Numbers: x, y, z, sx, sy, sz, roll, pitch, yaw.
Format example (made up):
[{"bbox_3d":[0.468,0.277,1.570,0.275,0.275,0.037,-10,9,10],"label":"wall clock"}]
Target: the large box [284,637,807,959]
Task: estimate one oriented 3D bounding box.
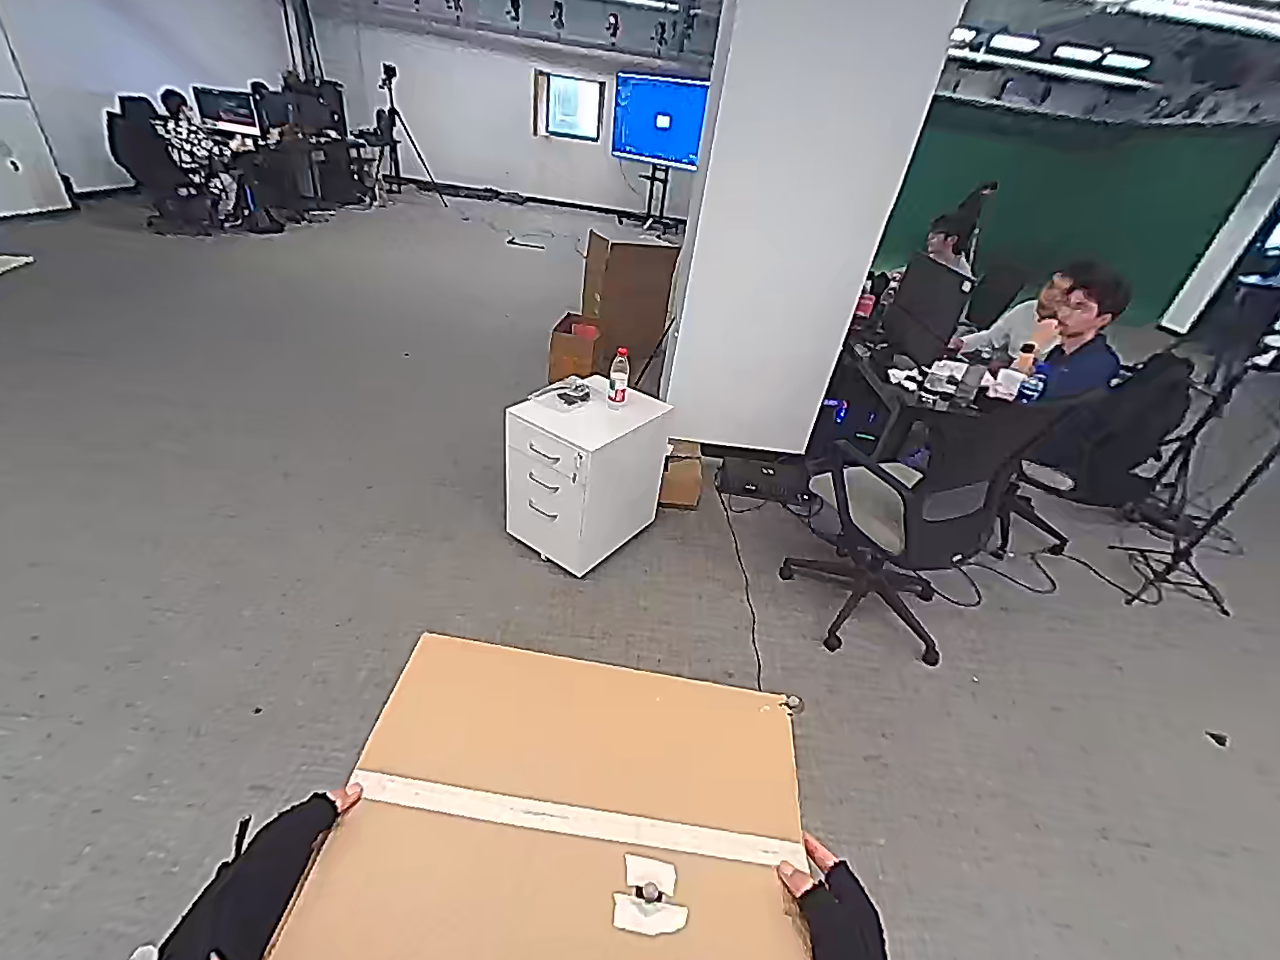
[{"bbox_3d":[-0.076,0.417,0.584,0.408,0.320,0.320,11,40,-1],"label":"large box"}]
